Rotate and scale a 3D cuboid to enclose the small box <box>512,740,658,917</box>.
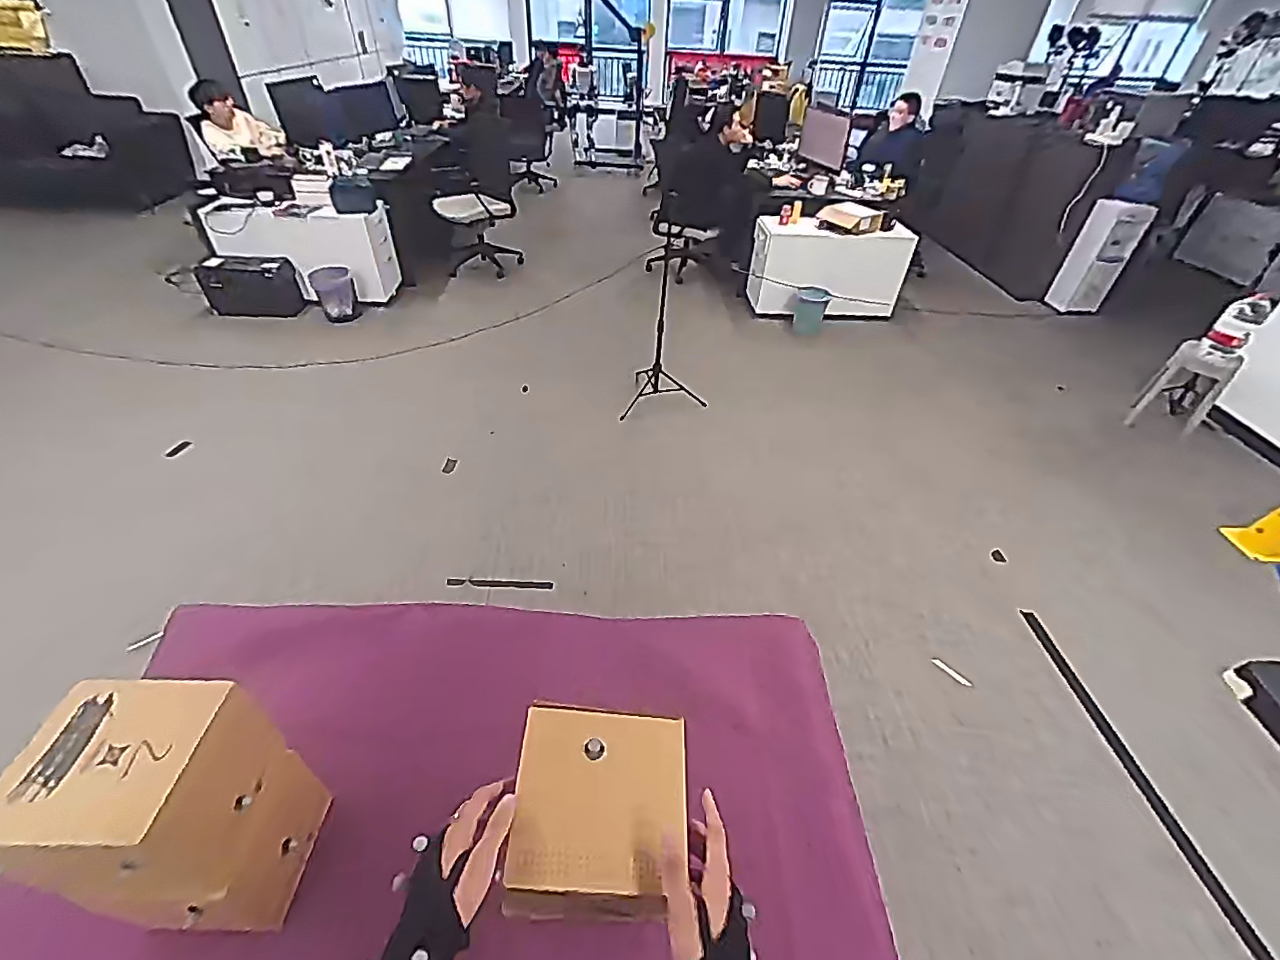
[{"bbox_3d":[-0.067,0.479,0.742,0.179,0.176,0.168,2,40,-2],"label":"small box"}]

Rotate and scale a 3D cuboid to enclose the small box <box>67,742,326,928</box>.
[{"bbox_3d":[-0.555,0.469,0.715,0.179,0.176,0.168,3,41,-1],"label":"small box"}]
